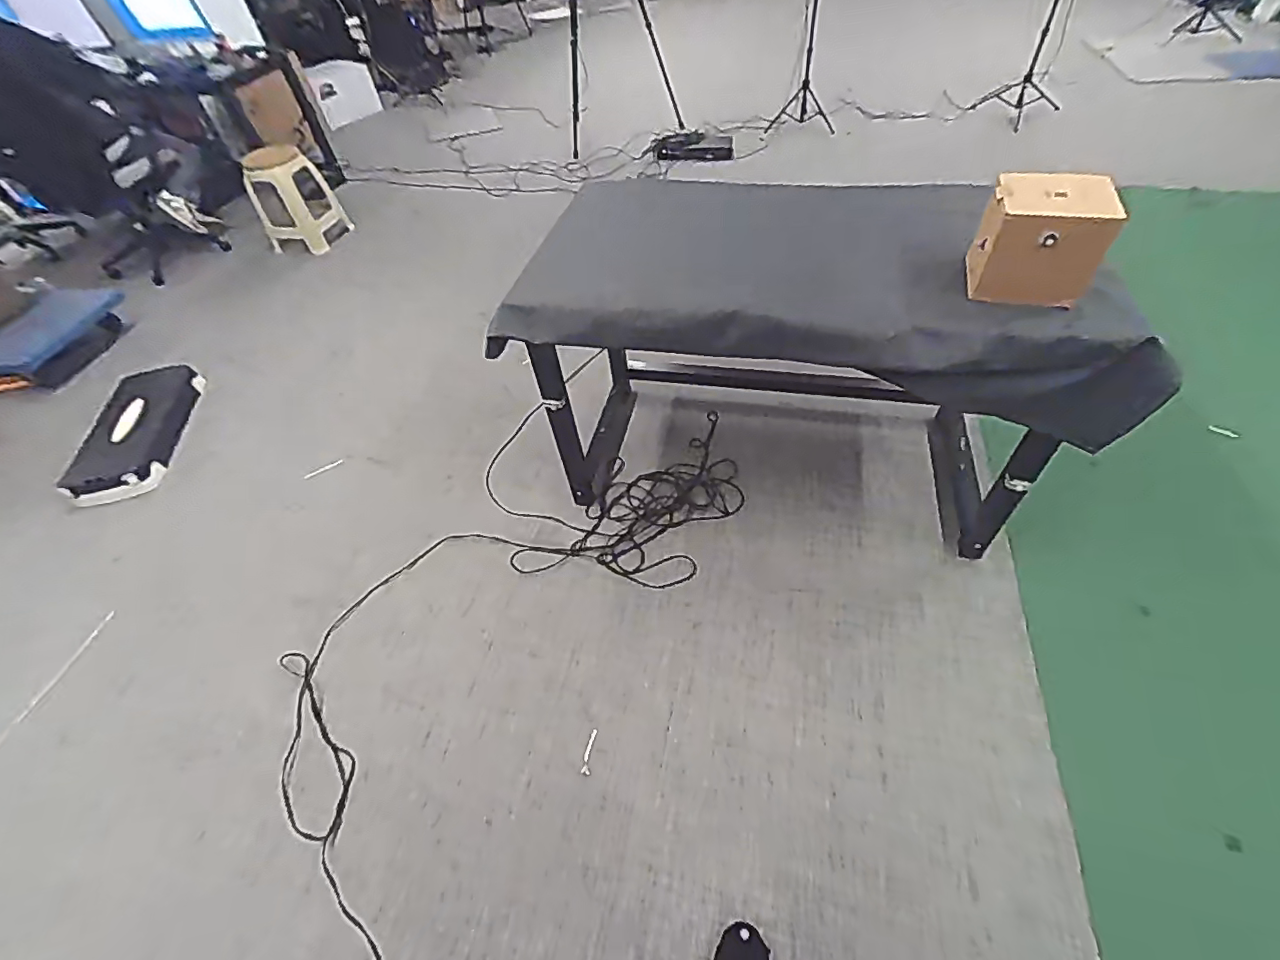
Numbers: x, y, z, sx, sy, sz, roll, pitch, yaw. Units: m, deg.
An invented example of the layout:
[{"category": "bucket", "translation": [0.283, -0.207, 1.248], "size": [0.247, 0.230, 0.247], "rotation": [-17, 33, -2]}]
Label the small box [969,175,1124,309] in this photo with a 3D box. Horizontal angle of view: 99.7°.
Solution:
[{"category": "small box", "translation": [0.720, -0.432, 0.987], "size": [0.179, 0.176, 0.168], "rotation": [12, 53, 16]}]
